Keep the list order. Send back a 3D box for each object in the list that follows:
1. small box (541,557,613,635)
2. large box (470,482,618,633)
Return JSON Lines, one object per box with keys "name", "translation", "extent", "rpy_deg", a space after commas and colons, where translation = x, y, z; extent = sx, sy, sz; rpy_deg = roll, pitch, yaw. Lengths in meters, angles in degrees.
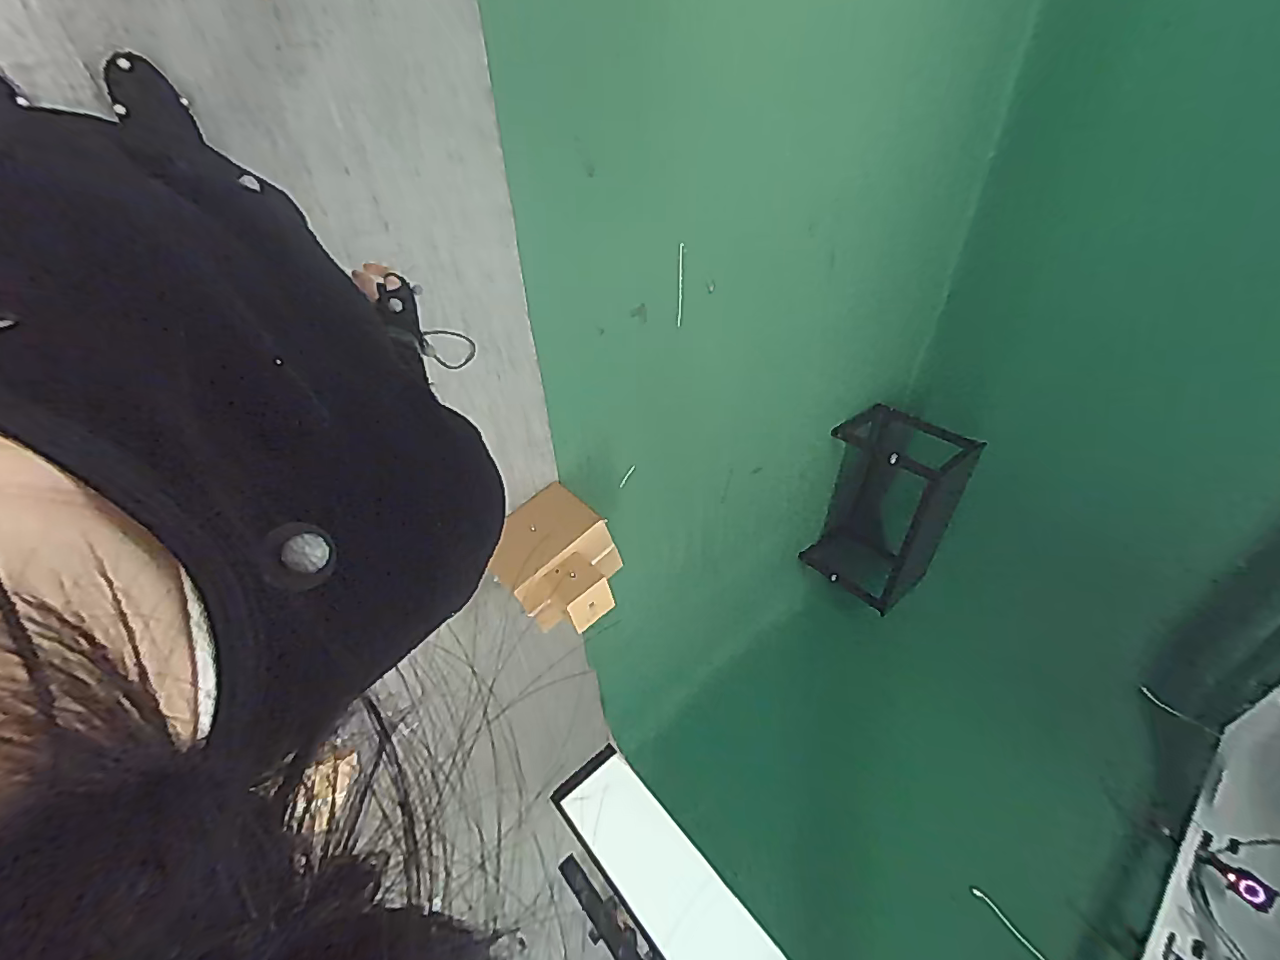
{"name": "small box", "translation": [-0.221, 0.394, 1.880], "extent": [0.168, 0.176, 0.179], "rpy_deg": [-35, 138, -23]}
{"name": "large box", "translation": [-0.358, 0.288, 2.061], "extent": [0.408, 0.320, 0.320], "rpy_deg": [-41, 141, -20]}
